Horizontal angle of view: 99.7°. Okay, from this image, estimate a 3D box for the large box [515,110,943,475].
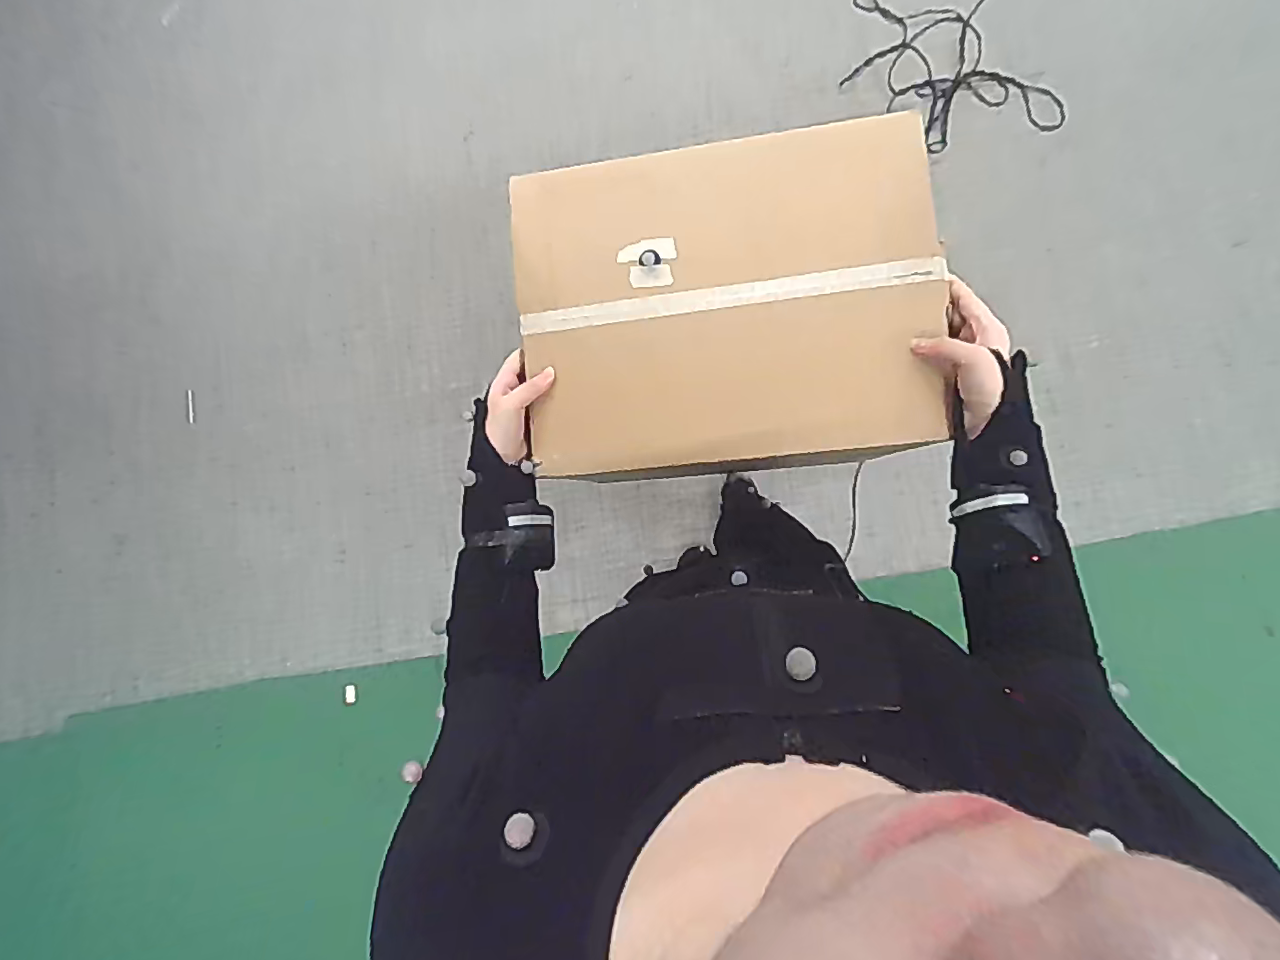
[{"bbox_3d":[0.100,-0.180,0.687,0.408,0.320,0.320,-6,88,9],"label":"large box"}]
